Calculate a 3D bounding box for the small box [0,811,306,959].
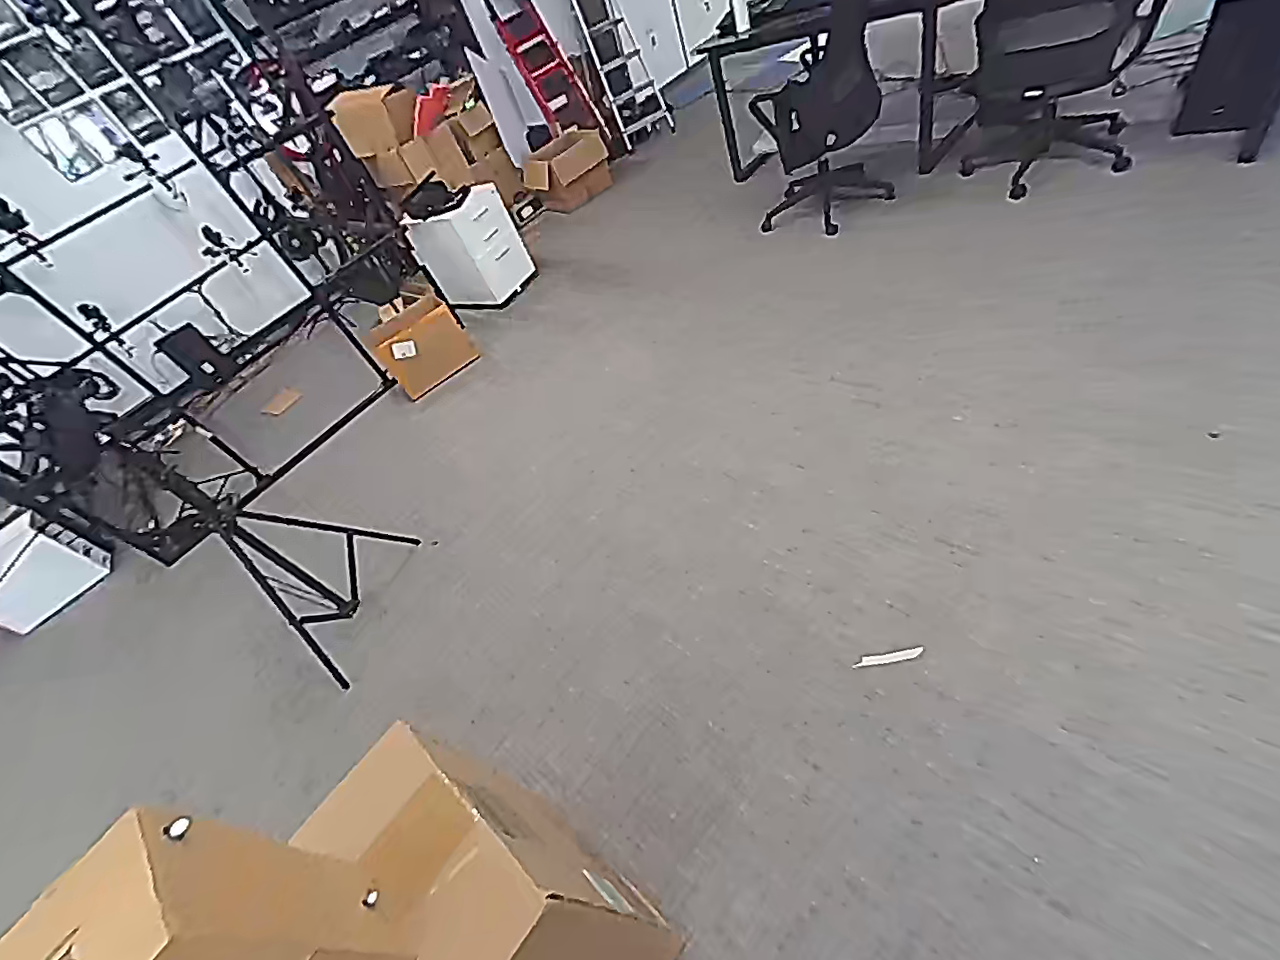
[{"bbox_3d":[-0.458,0.453,0.502,0.179,0.176,0.168,19,59,38],"label":"small box"}]
